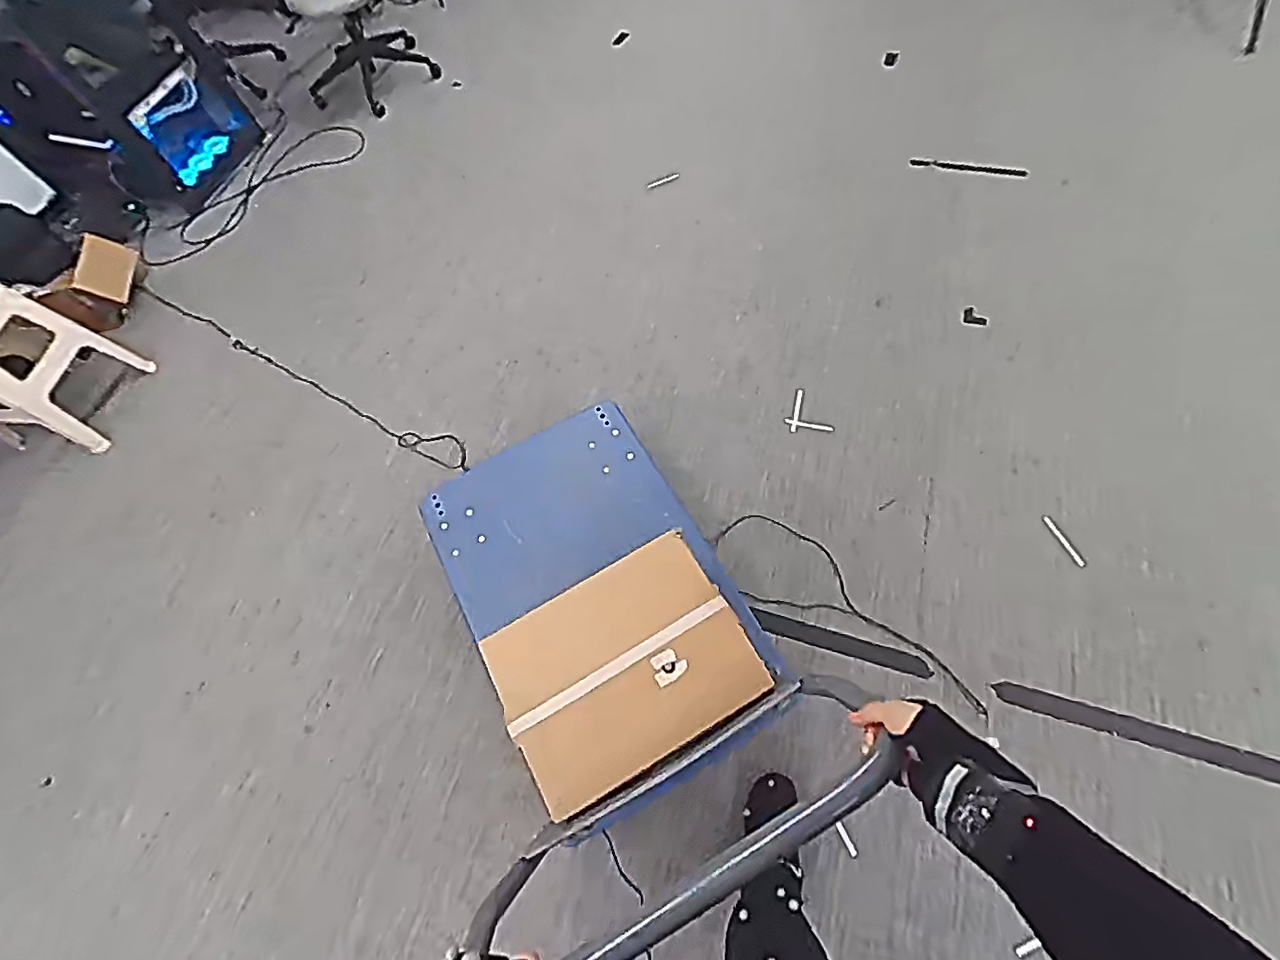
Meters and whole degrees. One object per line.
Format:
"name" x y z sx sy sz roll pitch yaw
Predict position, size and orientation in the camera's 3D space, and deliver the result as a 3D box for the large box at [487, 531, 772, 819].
"large box" -0.014 0.368 1.049 0.408 0.320 0.320 -30 68 -8
